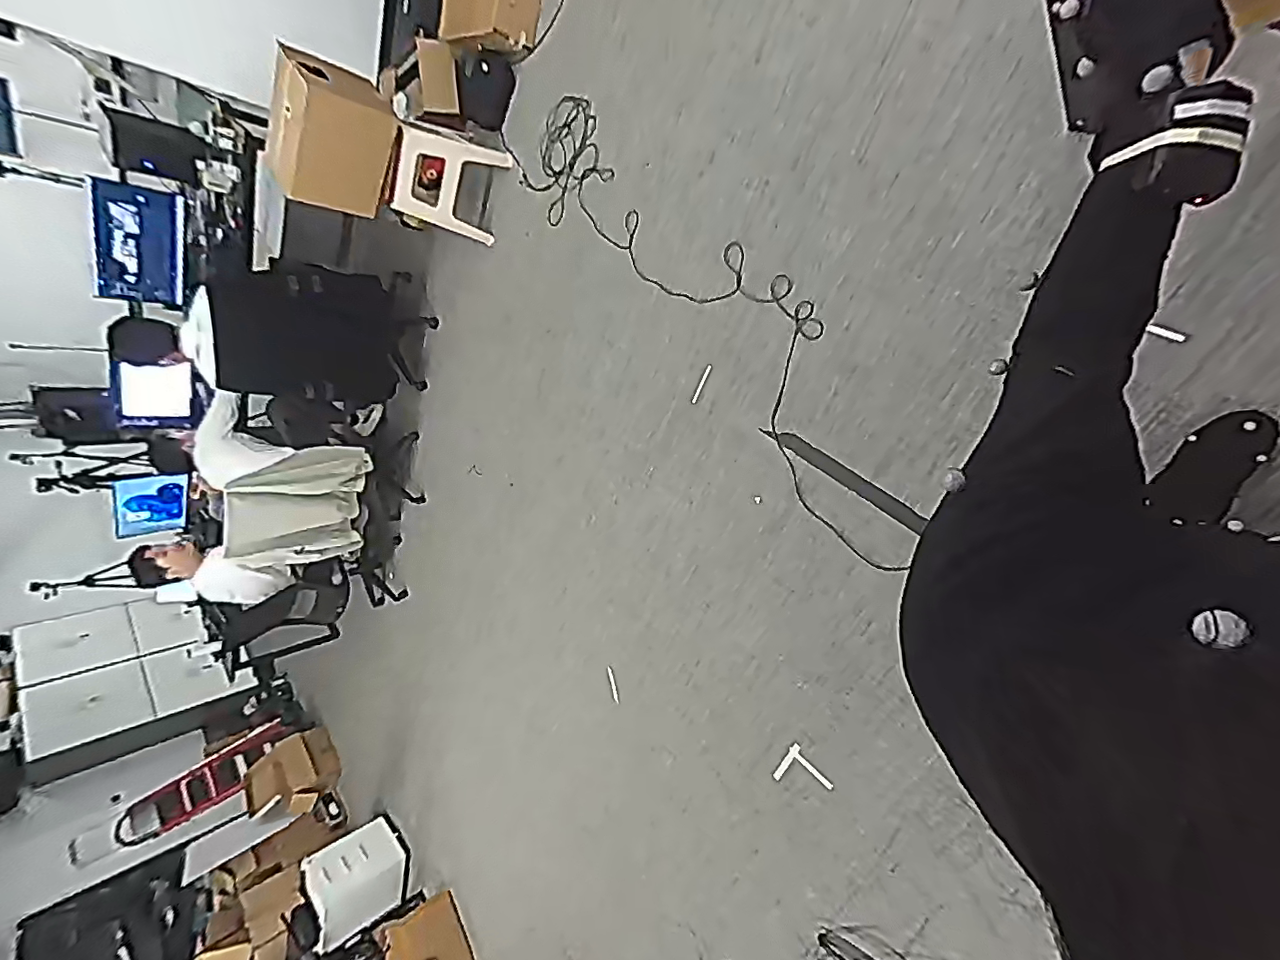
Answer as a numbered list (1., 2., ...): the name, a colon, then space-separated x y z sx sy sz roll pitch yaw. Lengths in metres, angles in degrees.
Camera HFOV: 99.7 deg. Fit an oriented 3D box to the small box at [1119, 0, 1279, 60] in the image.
1. small box: 0.467 -0.472 0.389 0.179 0.176 0.168 -9 73 36
